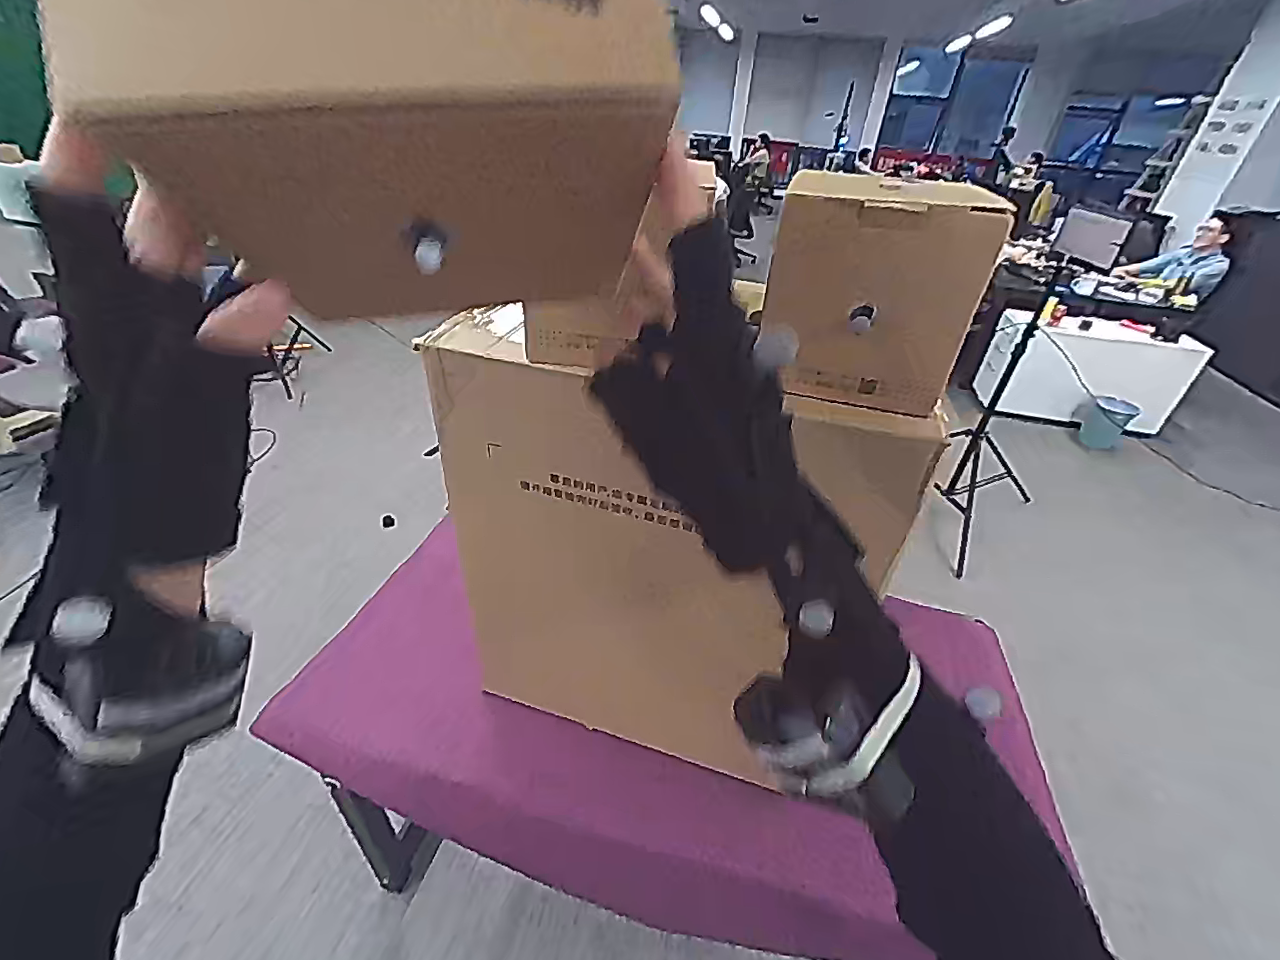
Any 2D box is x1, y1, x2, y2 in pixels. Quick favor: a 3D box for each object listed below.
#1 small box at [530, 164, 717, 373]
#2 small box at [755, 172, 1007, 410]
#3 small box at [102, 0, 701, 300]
[{"bbox_3d":[-0.015,-0.222,0.554,0.168,0.176,0.179,6,35,1],"label":"small box"},{"bbox_3d":[0.212,-0.185,0.520,0.168,0.176,0.179,13,37,12],"label":"small box"},{"bbox_3d":[-0.088,-0.198,0.247,0.179,0.168,0.176,-8,-3,-10],"label":"small box"}]
